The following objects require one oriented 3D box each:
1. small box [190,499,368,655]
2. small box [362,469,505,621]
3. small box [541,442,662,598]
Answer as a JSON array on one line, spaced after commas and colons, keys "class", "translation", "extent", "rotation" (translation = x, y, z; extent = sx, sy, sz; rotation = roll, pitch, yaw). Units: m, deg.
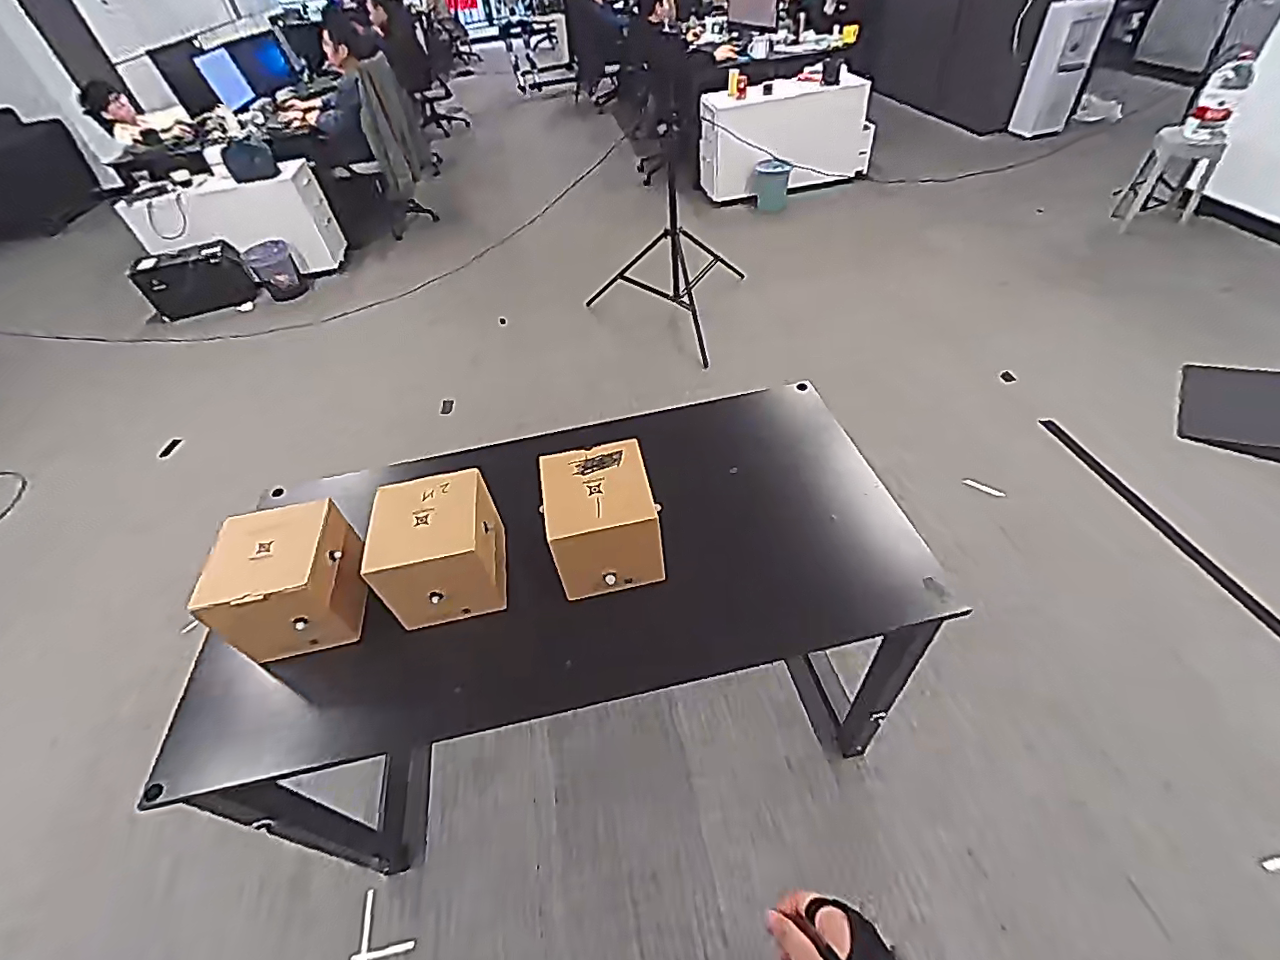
[{"class": "small box", "translation": [-0.558, 0.163, 0.871], "extent": [0.168, 0.176, 0.179], "rotation": [-12, 45, -6]}, {"class": "small box", "translation": [-0.323, 0.113, 0.884], "extent": [0.168, 0.176, 0.179], "rotation": [-11, 46, -4]}, {"class": "small box", "translation": [-0.063, 0.066, 0.894], "extent": [0.168, 0.176, 0.179], "rotation": [-12, 47, -3]}]
